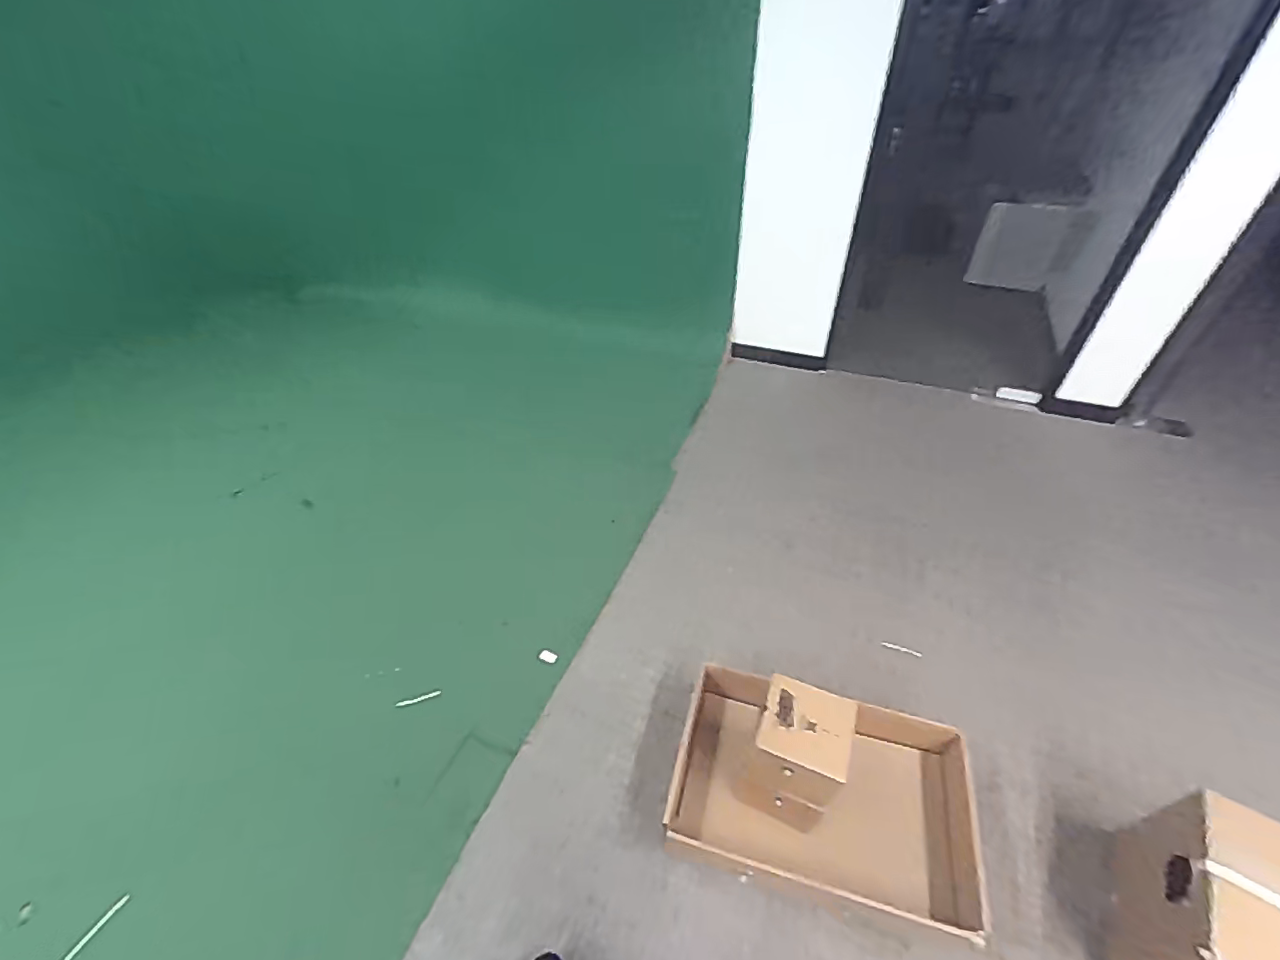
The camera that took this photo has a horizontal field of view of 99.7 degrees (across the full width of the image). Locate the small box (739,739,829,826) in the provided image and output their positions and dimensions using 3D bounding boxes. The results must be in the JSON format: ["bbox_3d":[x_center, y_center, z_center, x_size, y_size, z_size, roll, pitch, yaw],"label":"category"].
[{"bbox_3d":[0.340,0.664,1.249,0.179,0.176,0.168,18,47,16],"label":"small box"}]

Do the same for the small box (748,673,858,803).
[{"bbox_3d":[0.336,0.544,1.136,0.179,0.176,0.168,17,47,16],"label":"small box"}]
